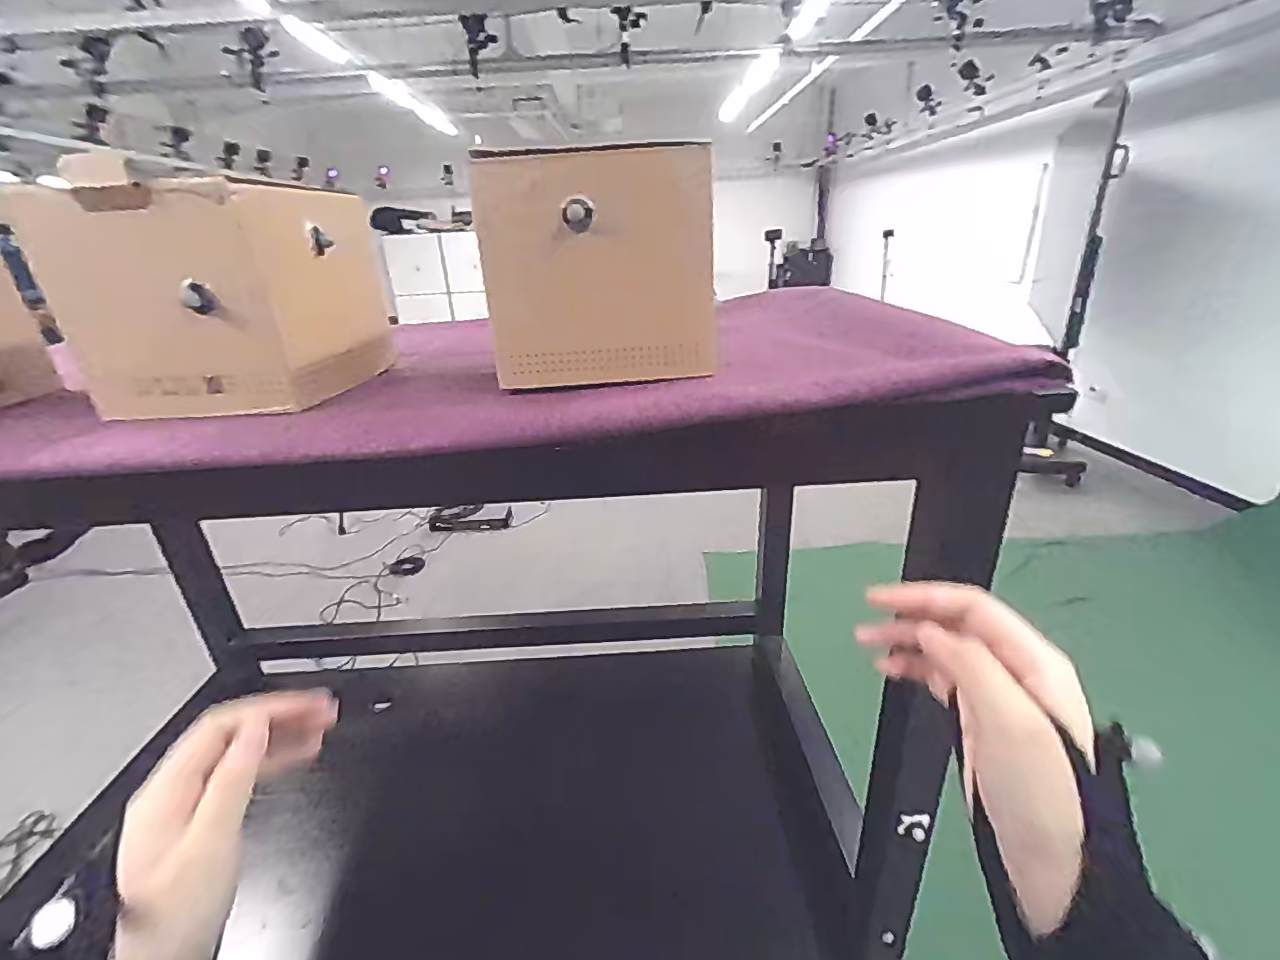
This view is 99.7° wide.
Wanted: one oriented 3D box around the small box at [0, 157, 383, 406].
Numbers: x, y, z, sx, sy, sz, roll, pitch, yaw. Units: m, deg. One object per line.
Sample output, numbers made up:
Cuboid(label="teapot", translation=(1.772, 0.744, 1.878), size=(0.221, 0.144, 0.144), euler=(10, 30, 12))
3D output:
Cuboid(label="small box", translation=(-0.346, -0.162, 0.461), size=(0.168, 0.176, 0.179), euler=(-1, 23, 2))

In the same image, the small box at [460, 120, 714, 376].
Cuboid(label="small box", translation=(-0.034, -0.189, 0.472), size=(0.179, 0.176, 0.168), euler=(-4, 22, -1))
